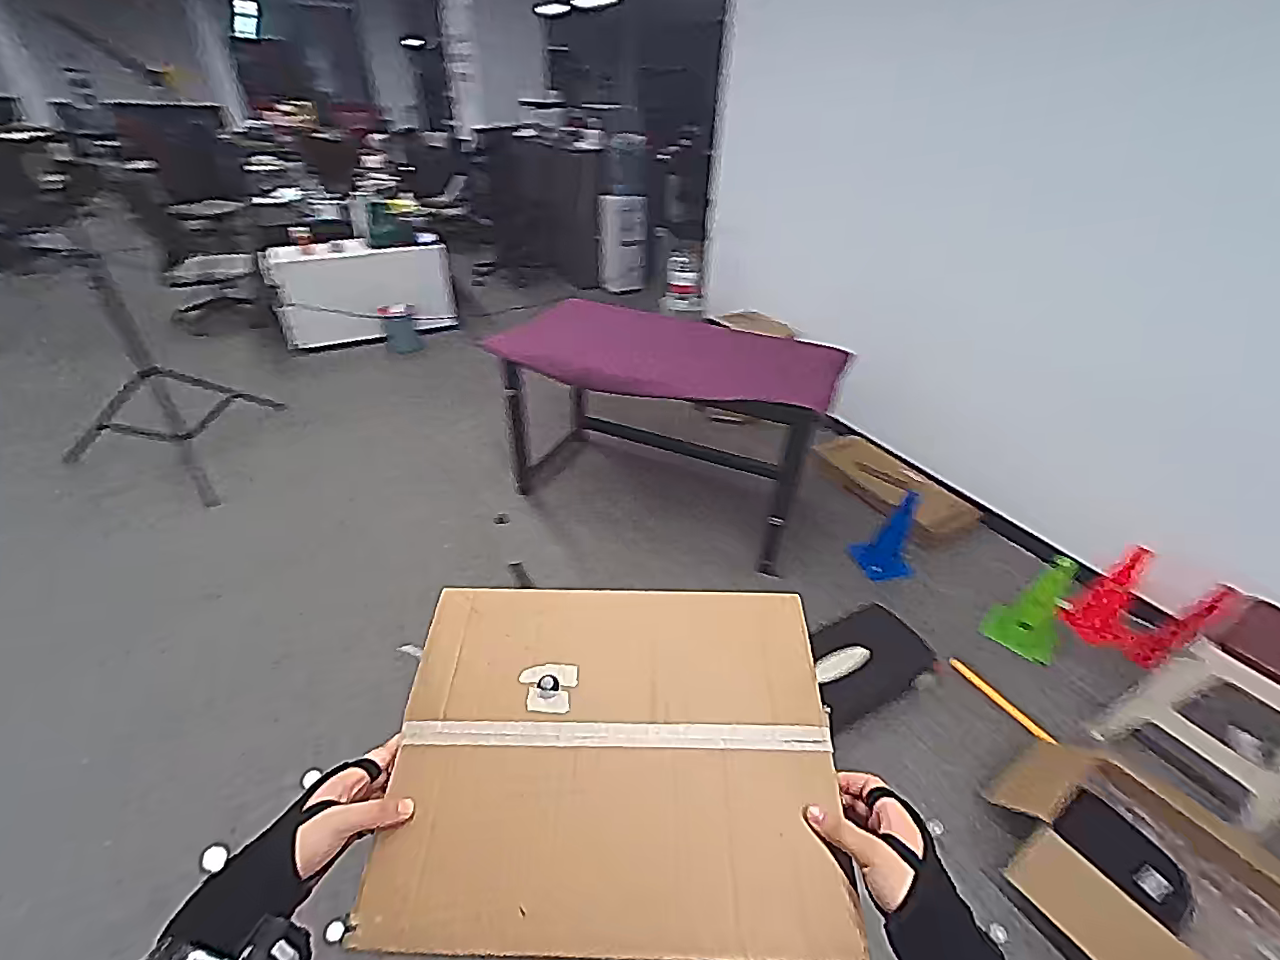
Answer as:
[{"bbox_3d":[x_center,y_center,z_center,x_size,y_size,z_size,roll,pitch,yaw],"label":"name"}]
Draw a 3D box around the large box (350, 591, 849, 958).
[{"bbox_3d":[-0.029,0.347,0.634,0.408,0.320,0.320,-1,48,1],"label":"large box"}]
